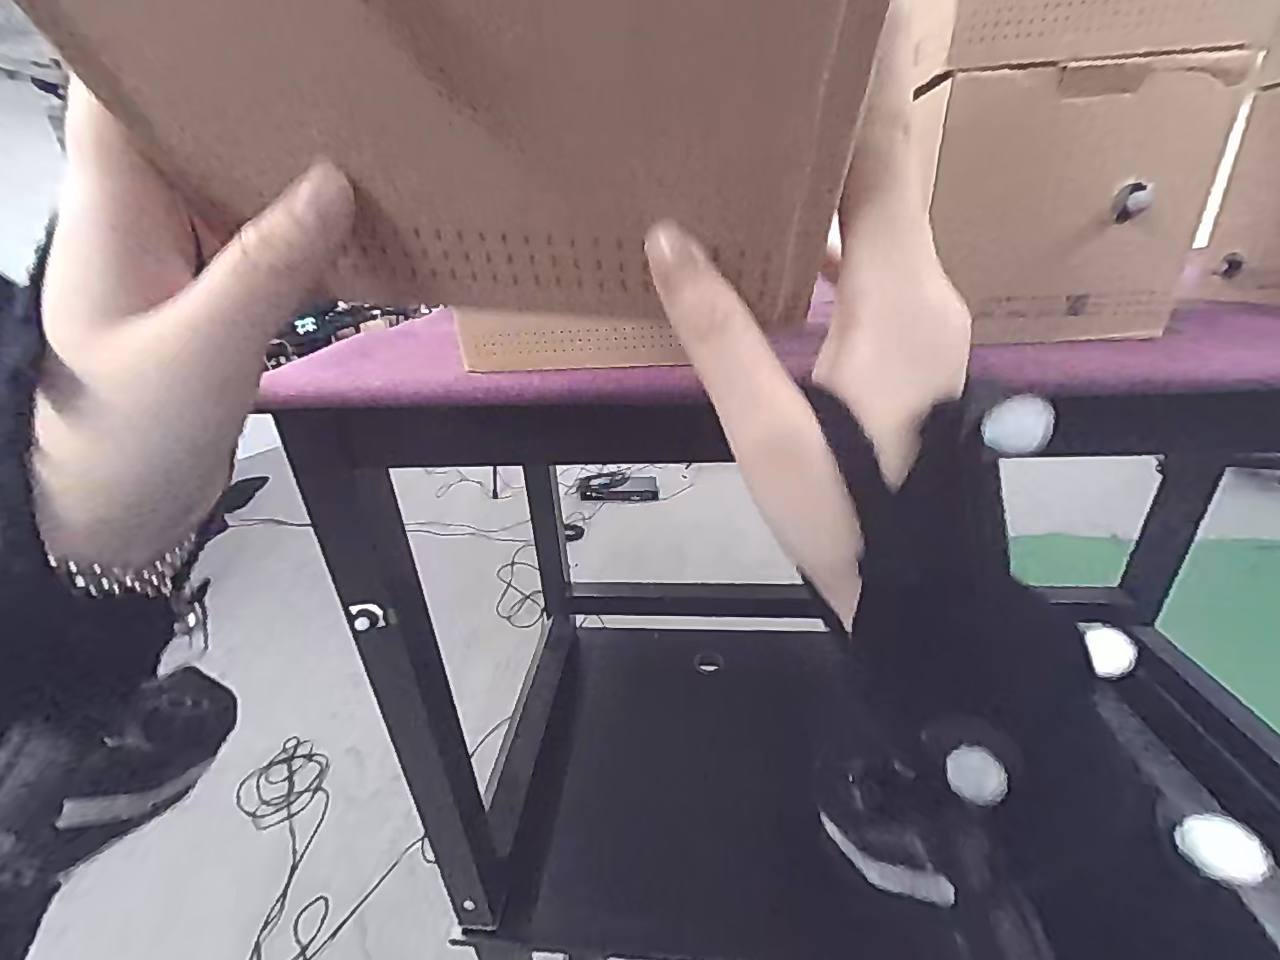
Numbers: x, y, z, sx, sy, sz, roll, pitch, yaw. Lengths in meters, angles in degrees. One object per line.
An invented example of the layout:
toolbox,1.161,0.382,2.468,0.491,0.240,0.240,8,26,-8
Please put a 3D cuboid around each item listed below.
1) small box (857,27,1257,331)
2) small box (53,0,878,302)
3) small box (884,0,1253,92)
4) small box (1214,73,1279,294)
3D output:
small box,0.280,-0.213,0.420,0.168,0.176,0.179,1,25,7
small box,-0.032,-0.163,0.127,0.179,0.176,0.168,5,64,8
small box,0.271,-0.362,0.350,0.179,0.176,0.168,1,27,7
small box,0.592,-0.226,0.396,0.179,0.176,0.168,-1,23,5
